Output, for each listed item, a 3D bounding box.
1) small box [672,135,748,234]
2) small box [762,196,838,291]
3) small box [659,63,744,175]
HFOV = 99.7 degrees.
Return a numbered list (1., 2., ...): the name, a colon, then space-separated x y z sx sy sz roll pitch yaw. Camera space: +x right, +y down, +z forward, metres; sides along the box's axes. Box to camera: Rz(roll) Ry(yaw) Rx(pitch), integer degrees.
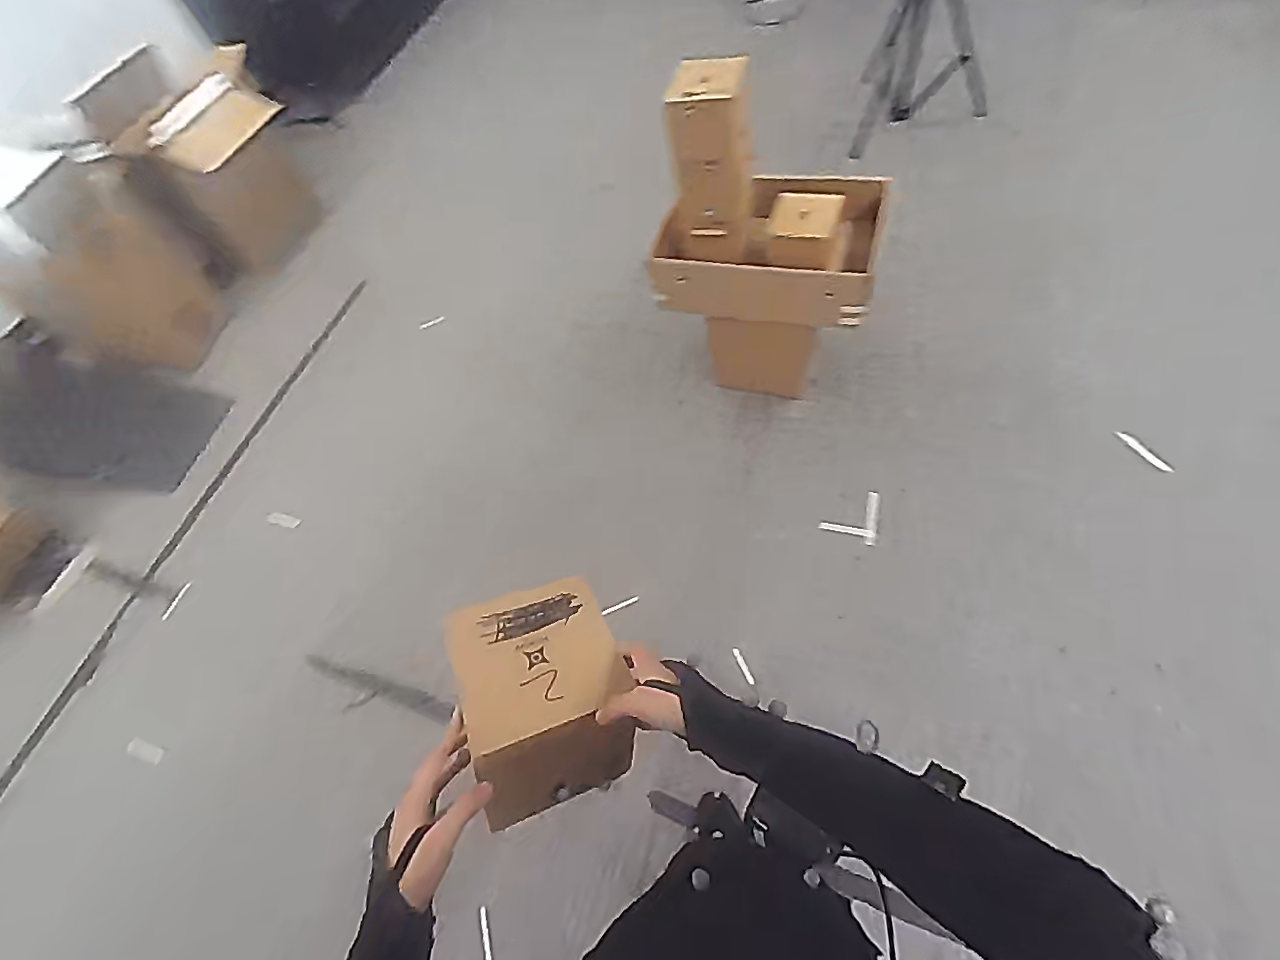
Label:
1. small box: 0.195 -0.797 1.460 0.168 0.176 0.179 9 64 18
2. small box: 0.446 -0.664 1.520 0.168 0.176 0.179 13 65 21
3. small box: 0.156 -0.878 1.322 0.168 0.176 0.179 9 63 18
